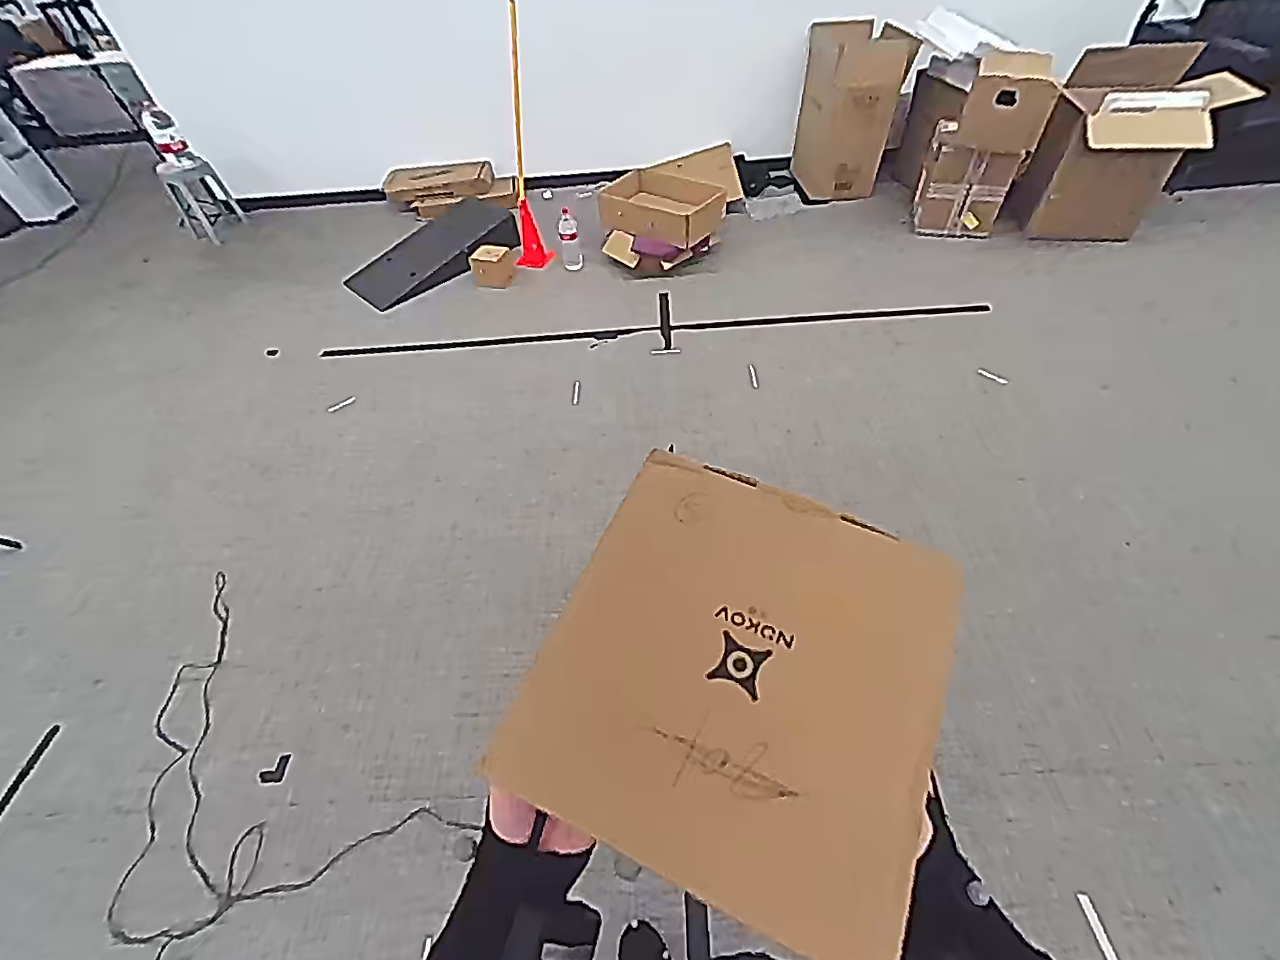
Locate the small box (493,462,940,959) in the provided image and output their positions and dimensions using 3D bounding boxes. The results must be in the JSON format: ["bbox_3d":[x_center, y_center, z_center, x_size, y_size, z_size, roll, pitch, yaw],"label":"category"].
[{"bbox_3d":[0.045,0.125,0.317,0.168,0.176,0.179,20,61,14],"label":"small box"}]
